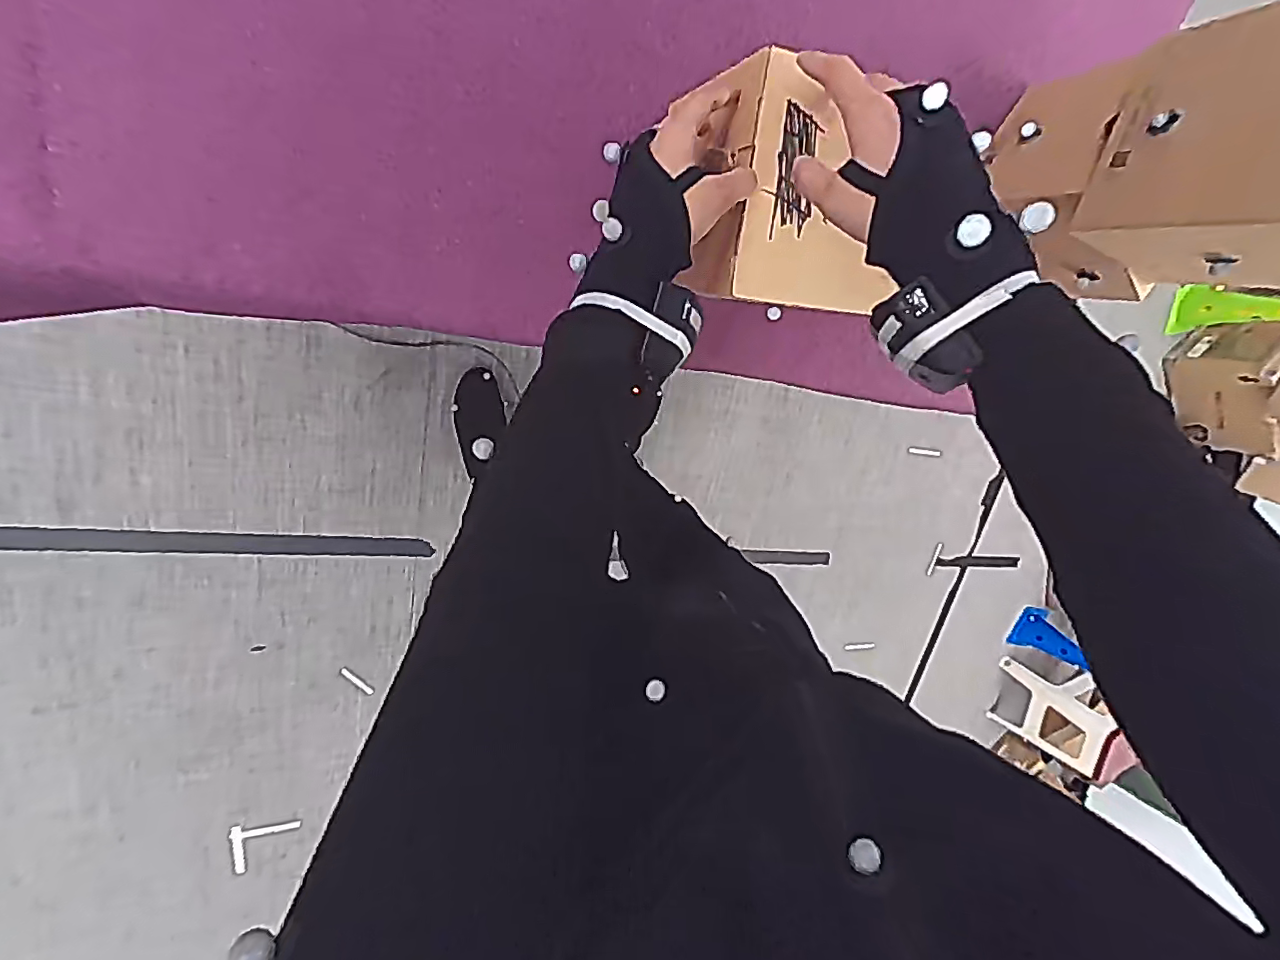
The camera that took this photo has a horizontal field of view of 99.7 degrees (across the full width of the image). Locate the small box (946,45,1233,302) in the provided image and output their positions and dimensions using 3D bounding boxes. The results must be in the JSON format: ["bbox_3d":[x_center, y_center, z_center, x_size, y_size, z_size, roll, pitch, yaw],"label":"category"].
[{"bbox_3d":[0.502,-0.331,0.619,0.179,0.176,0.168,32,96,-30],"label":"small box"}]
